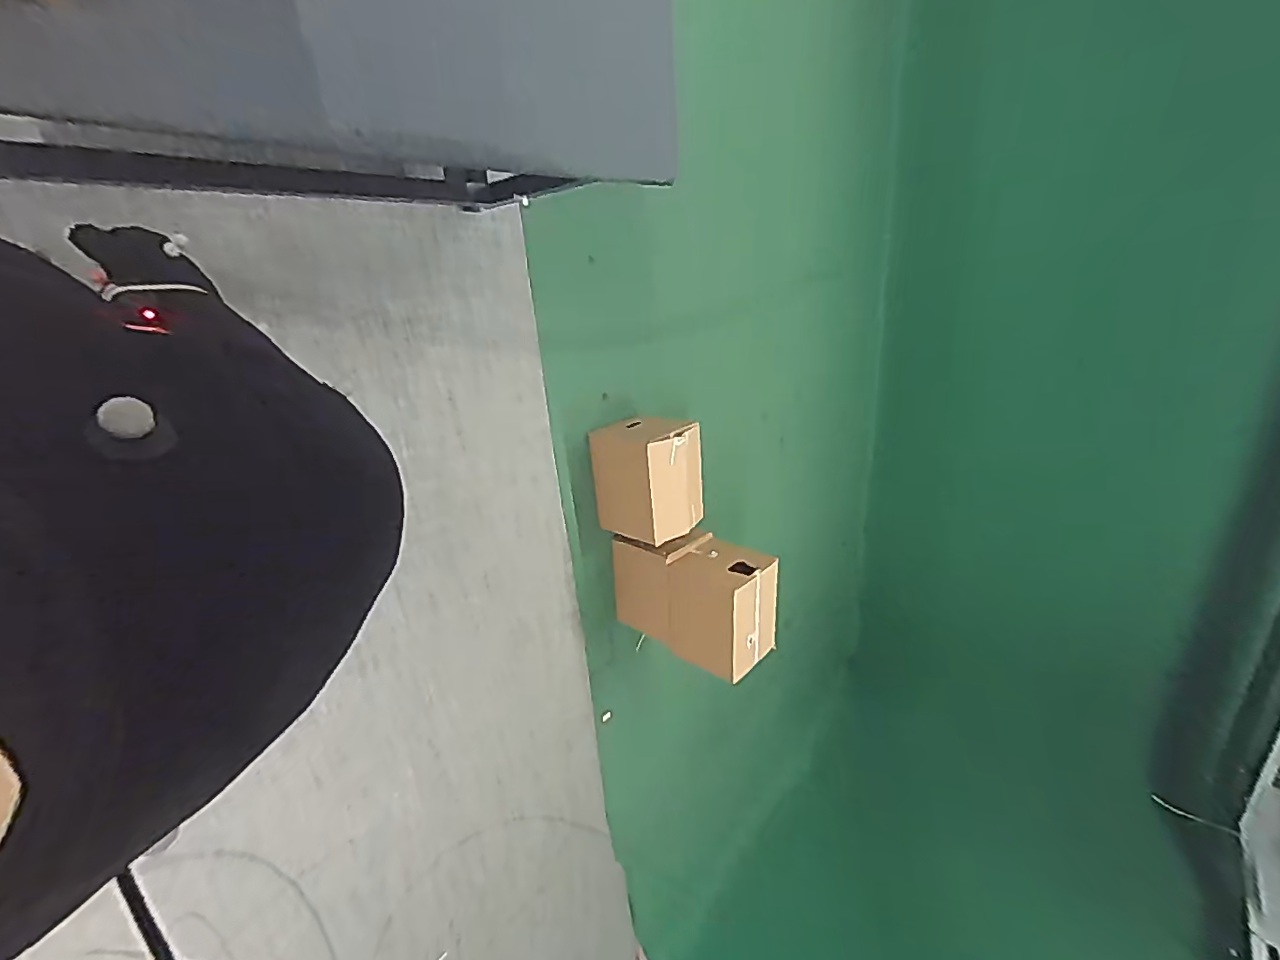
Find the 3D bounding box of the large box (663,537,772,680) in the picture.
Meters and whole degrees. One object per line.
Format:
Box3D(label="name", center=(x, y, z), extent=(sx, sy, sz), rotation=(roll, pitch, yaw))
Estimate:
Box3D(label="large box", center=(0.306, 0.493, 2.148), extent=(0.320, 0.320, 0.408), rotation=(-22, 118, -43))
